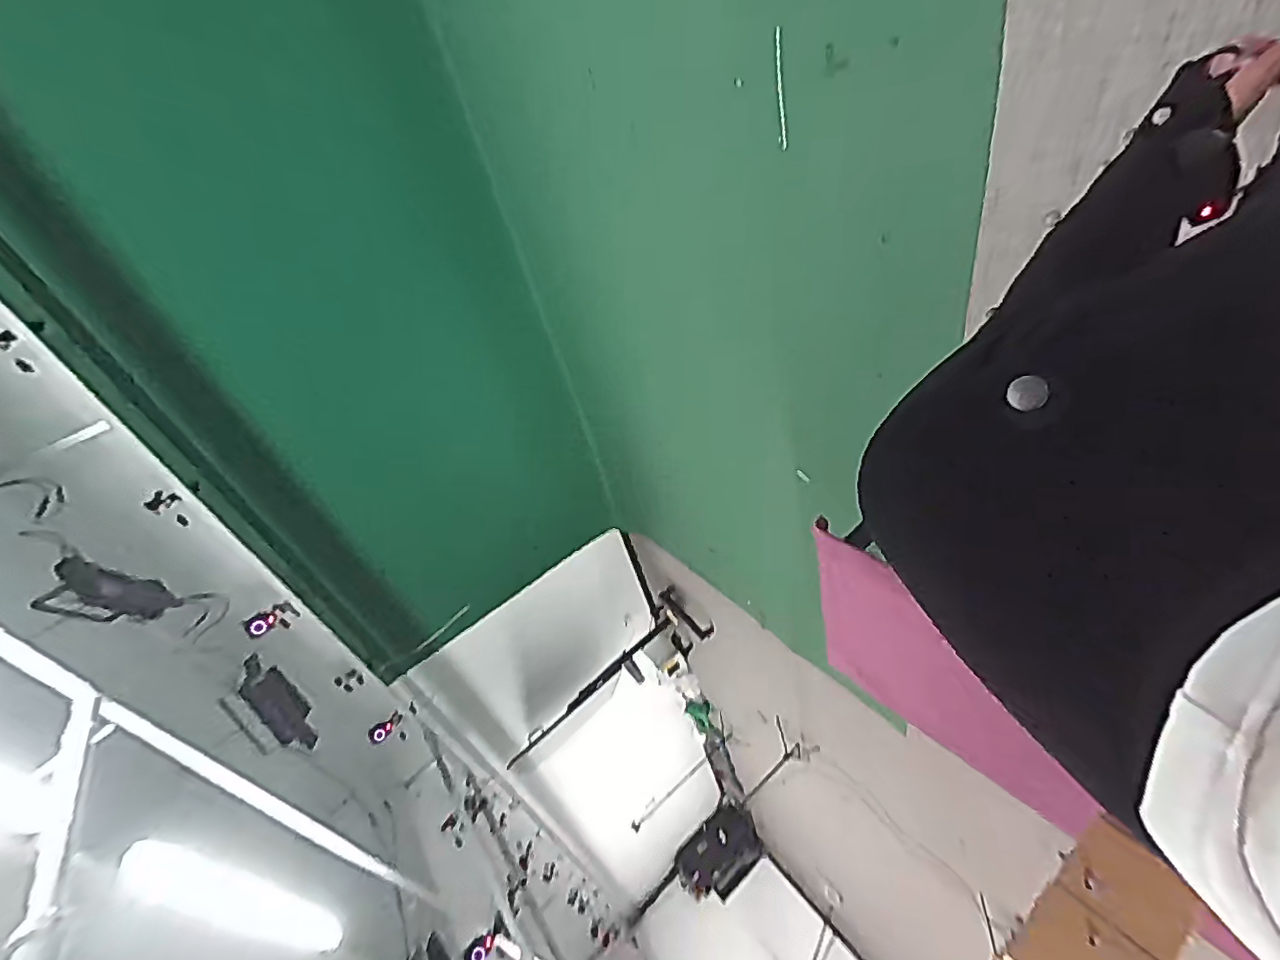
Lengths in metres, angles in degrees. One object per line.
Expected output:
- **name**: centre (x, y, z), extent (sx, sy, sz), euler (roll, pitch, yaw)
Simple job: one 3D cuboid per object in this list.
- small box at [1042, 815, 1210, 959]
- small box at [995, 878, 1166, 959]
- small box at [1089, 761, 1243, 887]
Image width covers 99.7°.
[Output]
- **small box**: centre (0.912, 0.781, 1.029), extent (0.179, 0.176, 0.168), euler (32, 149, 47)
- **small box**: centre (0.784, 0.864, 0.971), extent (0.179, 0.176, 0.168), euler (33, 150, 48)
- **small box**: centre (1.046, 0.707, 1.094), extent (0.179, 0.176, 0.168), euler (30, 148, 48)
